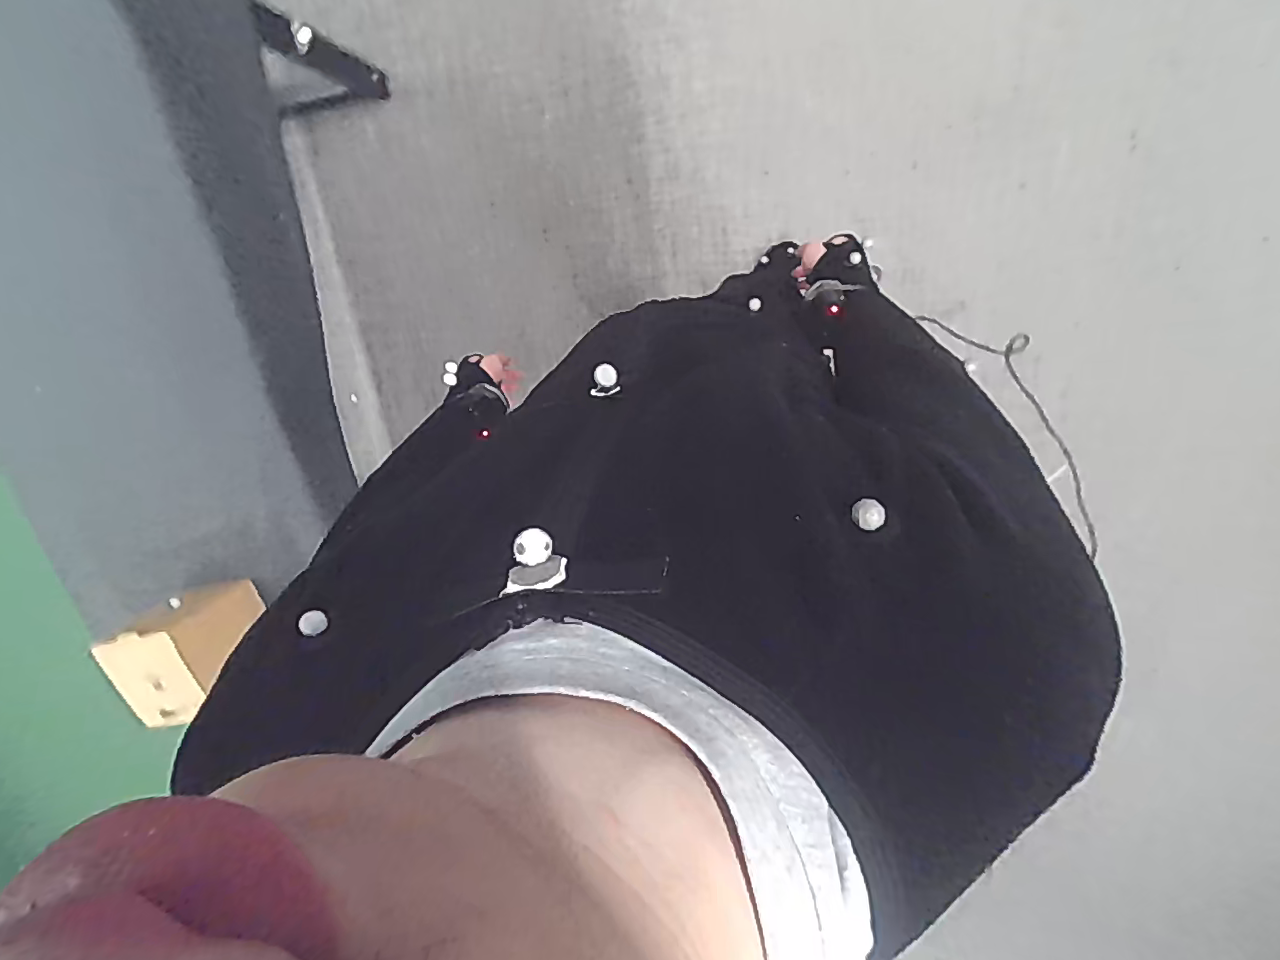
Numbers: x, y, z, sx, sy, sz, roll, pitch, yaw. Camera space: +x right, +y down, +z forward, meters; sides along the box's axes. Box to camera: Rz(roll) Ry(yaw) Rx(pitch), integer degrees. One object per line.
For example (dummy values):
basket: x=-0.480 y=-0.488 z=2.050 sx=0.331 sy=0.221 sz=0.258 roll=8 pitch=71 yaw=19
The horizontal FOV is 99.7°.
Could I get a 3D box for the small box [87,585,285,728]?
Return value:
small box: x=-0.790 y=0.303 z=0.961 sx=0.168 sy=0.176 sz=0.179 roll=-12 pitch=109 yaw=11
